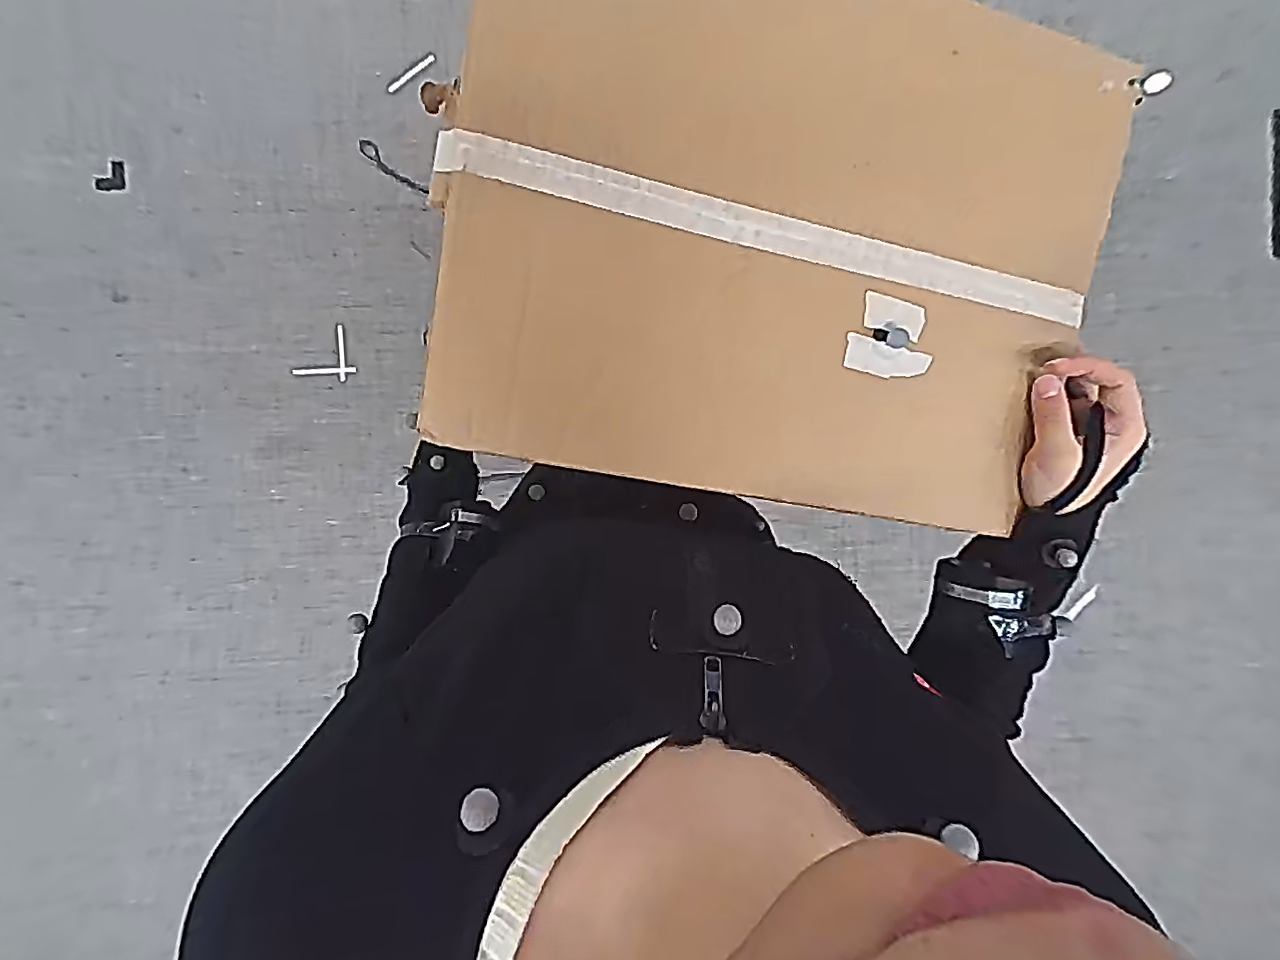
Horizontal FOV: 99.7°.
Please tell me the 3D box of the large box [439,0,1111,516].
[{"bbox_3d":[0.069,-0.170,0.478,0.408,0.320,0.320,9,97,-13],"label":"large box"}]
